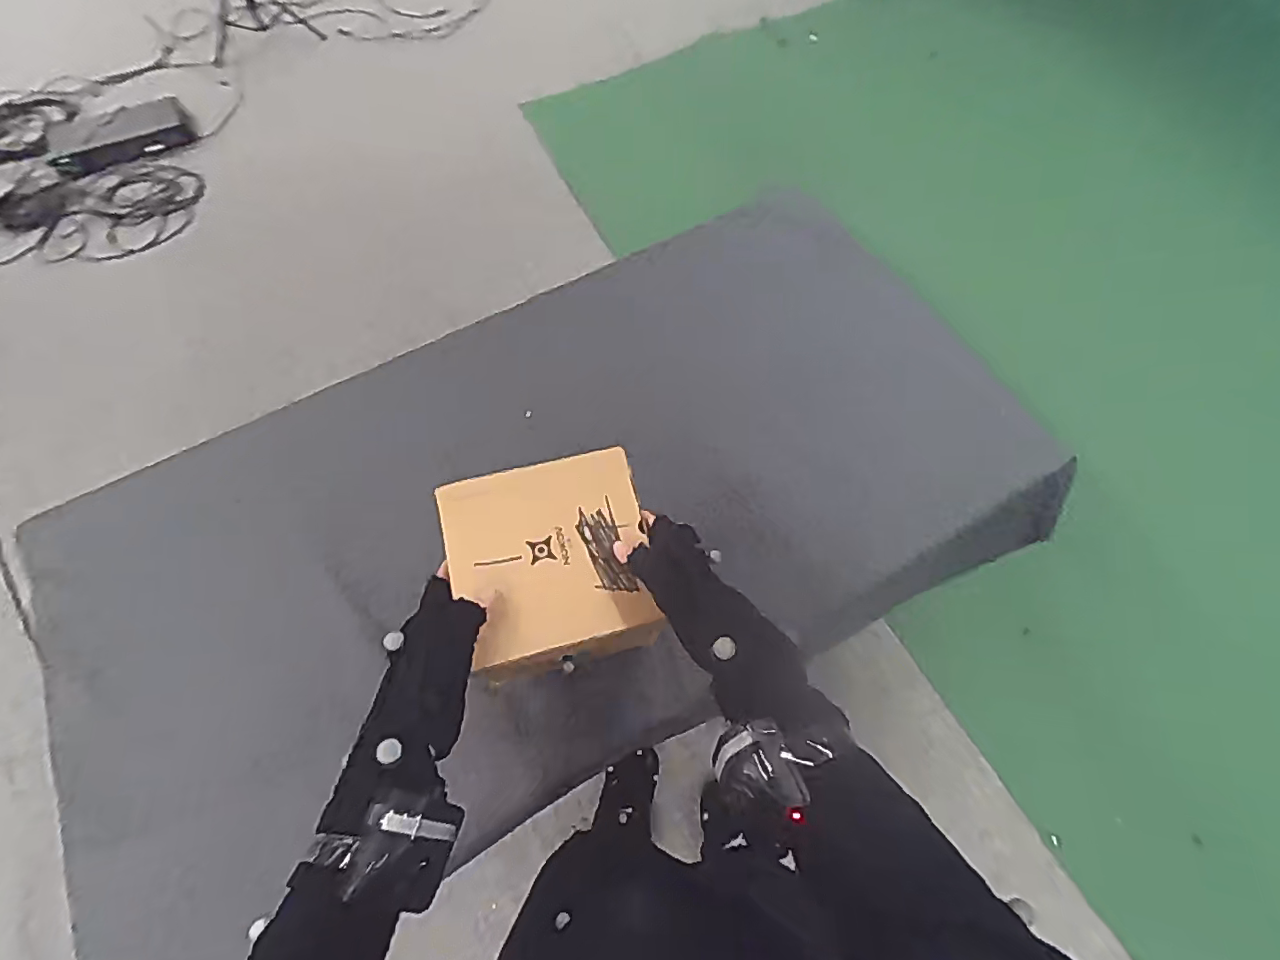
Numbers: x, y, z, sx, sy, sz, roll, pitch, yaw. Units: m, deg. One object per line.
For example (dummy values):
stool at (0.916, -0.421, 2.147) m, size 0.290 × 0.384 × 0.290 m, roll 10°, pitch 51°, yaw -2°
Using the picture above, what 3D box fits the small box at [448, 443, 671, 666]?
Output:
small box at (-0.082, 0.081, 0.542) m, size 0.179 × 0.176 × 0.168 m, roll -9°, pitch 67°, yaw -10°
